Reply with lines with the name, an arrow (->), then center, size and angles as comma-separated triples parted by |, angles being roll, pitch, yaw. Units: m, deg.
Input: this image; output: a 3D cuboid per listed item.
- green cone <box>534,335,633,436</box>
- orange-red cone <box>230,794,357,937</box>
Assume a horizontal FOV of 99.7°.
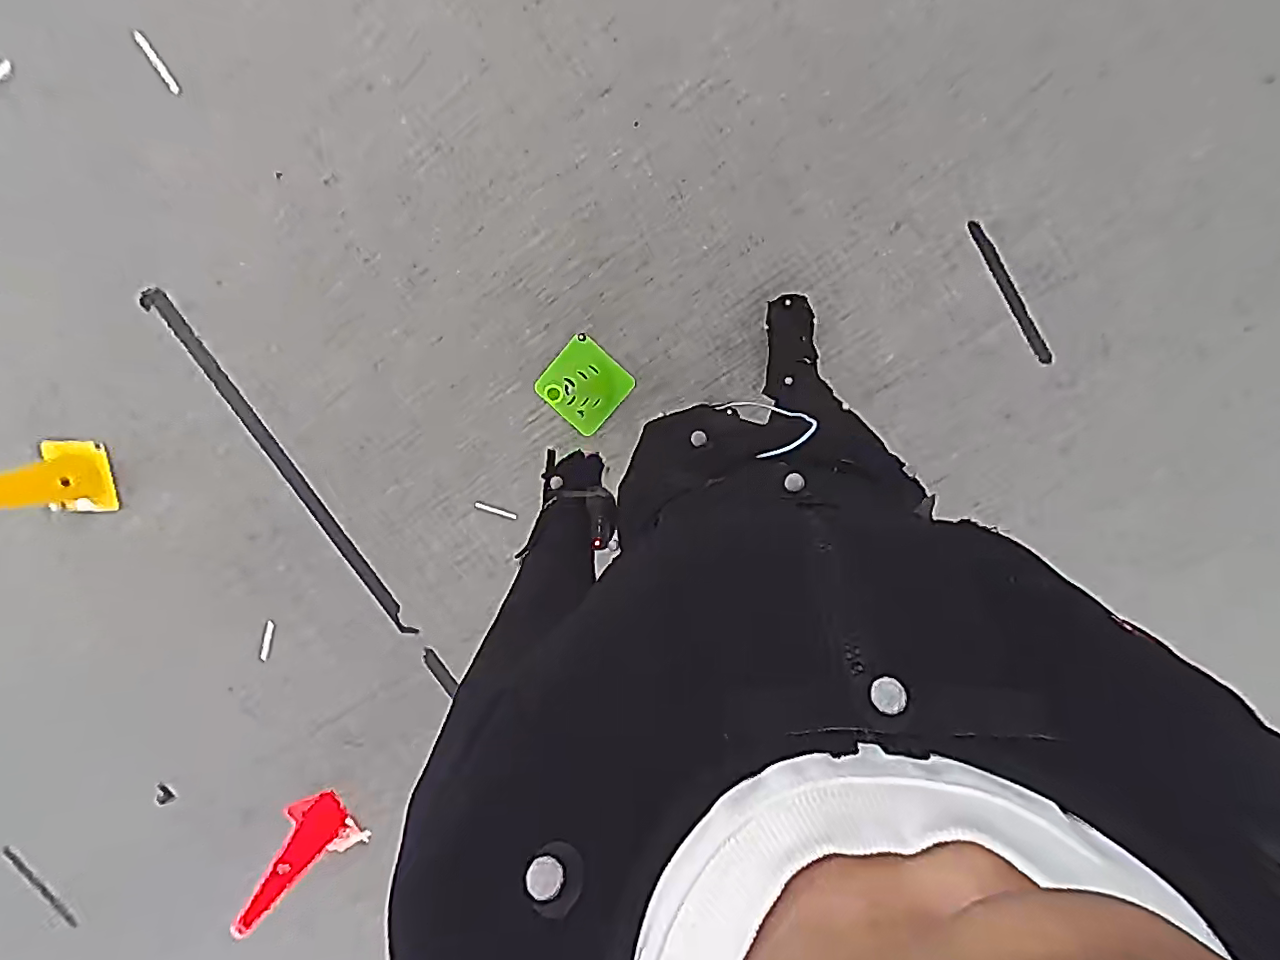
green cone -> -0.158, -0.201, 1.230 | 0.202, 0.368, 0.200 | 41, 103, -6
orange-red cone -> -1.065, 1.170, 1.615 | 0.198, 0.360, 0.199 | -24, 98, 9
